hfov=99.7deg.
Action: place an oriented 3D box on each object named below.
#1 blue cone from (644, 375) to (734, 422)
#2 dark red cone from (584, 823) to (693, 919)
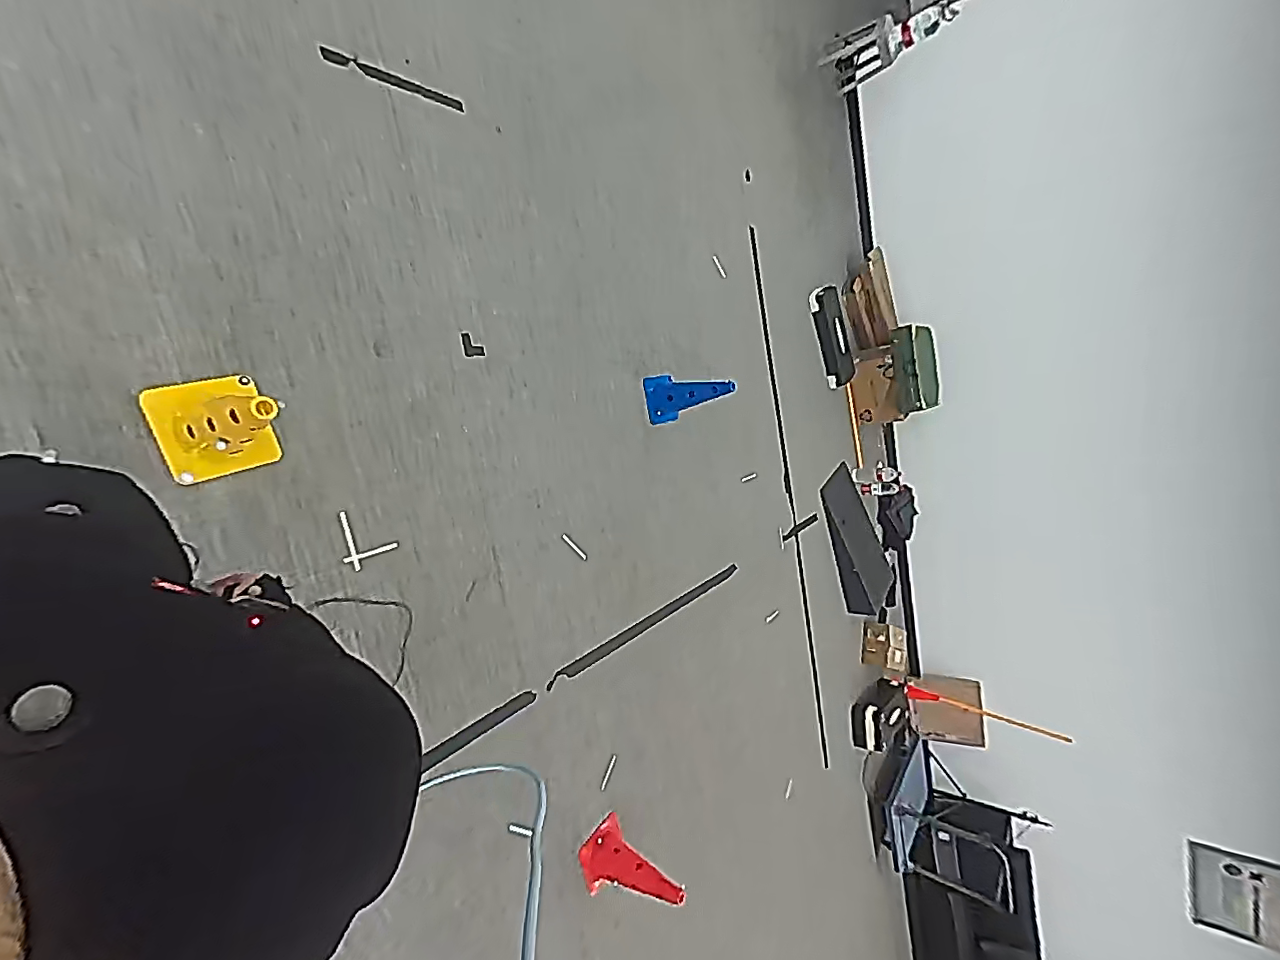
[{"bbox_3d":[0.213,-0.355,2.187,0.193,0.380,0.192,-17,100,-49],"label":"blue cone"},{"bbox_3d":[0.011,1.353,1.811,0.202,0.394,0.201,-29,109,-46],"label":"dark red cone"}]
